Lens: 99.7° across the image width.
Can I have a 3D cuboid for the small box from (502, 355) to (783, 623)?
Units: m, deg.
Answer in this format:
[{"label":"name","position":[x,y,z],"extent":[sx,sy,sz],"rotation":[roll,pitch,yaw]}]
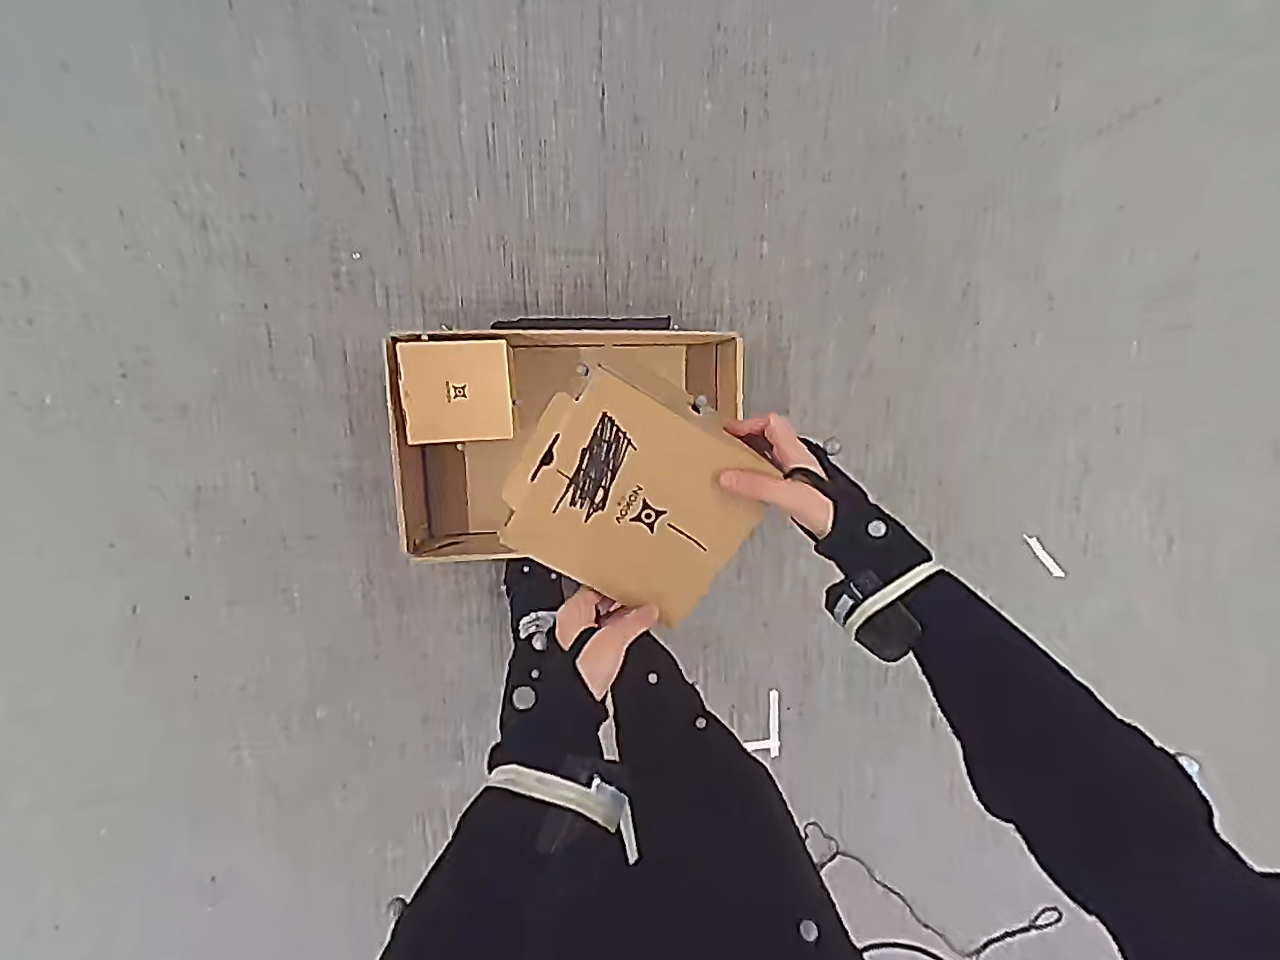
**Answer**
[{"label":"small box","position":[-0.001,-0.005,0.511],"extent":[0.179,0.176,0.168],"rotation":[29,106,-10]}]
